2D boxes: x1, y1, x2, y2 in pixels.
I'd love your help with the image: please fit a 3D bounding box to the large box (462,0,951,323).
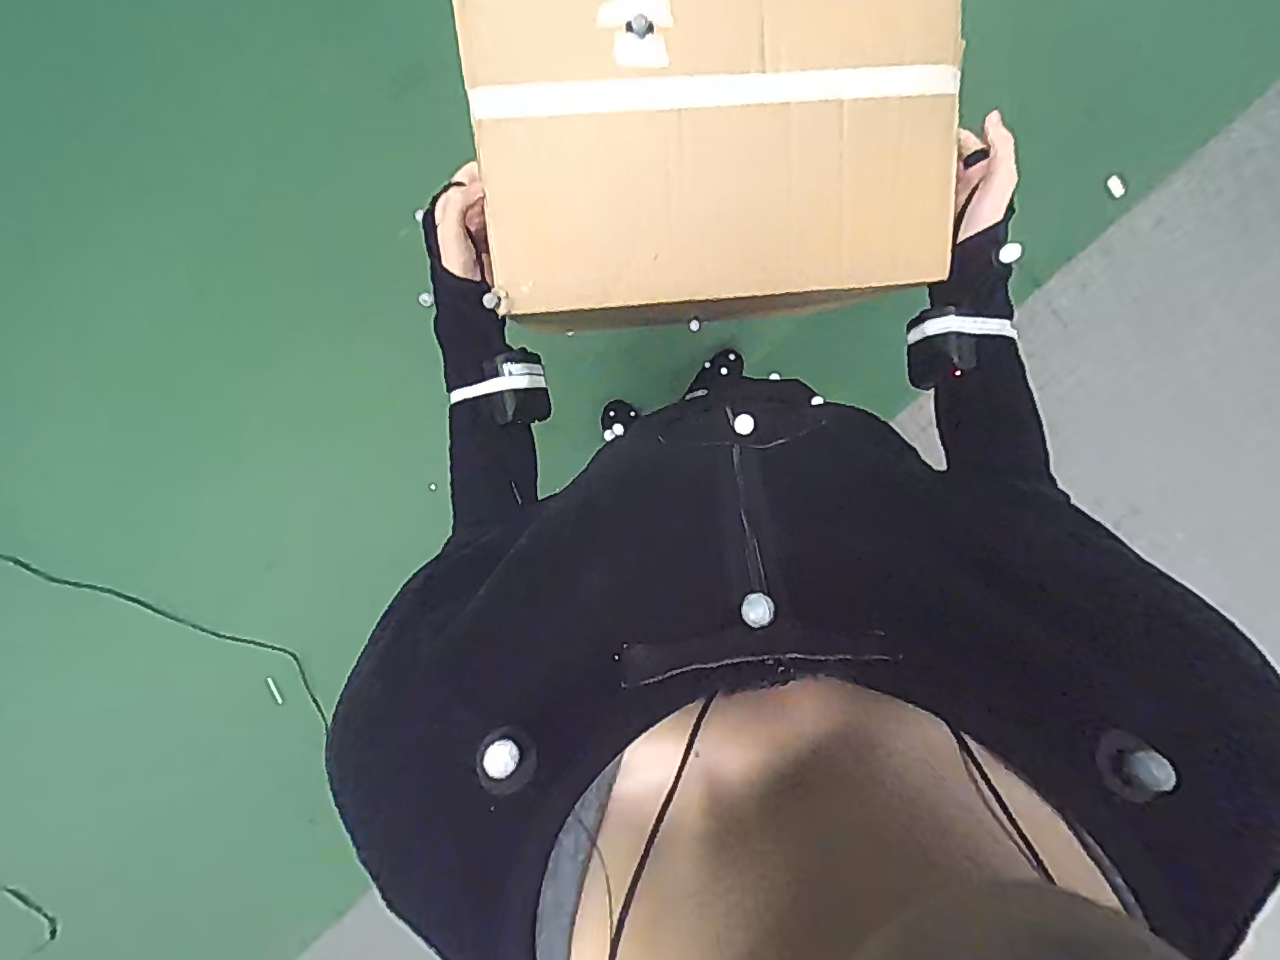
[{"bbox_3d":[0.052,-0.351,0.593,0.408,0.320,0.320,-5,103,-4],"label":"large box"}]
